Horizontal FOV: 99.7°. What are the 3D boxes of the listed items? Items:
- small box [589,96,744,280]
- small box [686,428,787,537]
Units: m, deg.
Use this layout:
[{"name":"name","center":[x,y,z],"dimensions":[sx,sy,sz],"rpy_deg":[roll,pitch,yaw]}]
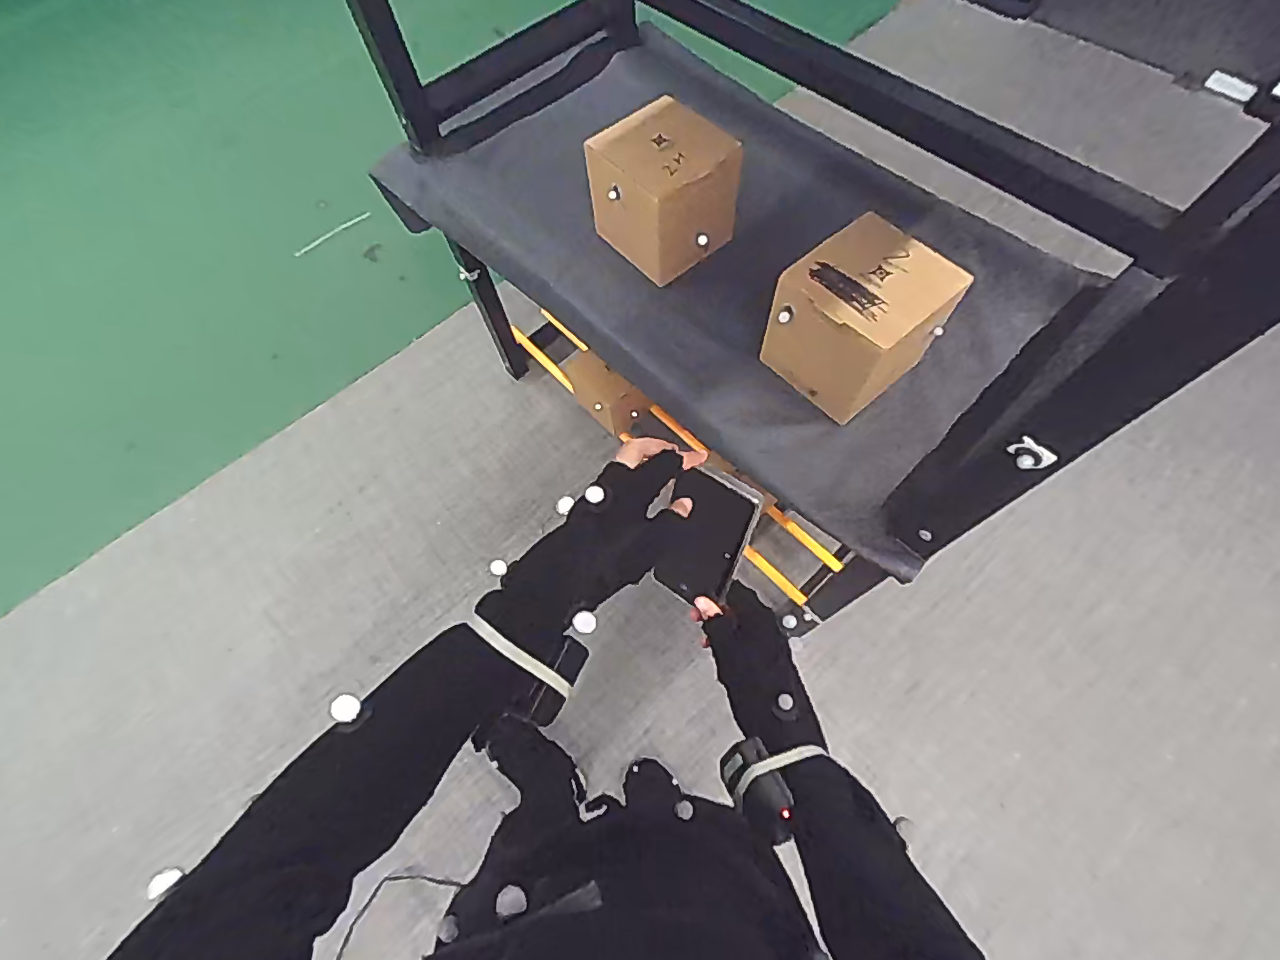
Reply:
[{"name":"small box","center":[0.040,-0.462,0.871],"dimensions":[0.168,0.176,0.179],"rpy_deg":[-38,69,-13]},{"name":"small box","center":[0.231,0.013,1.329],"dimensions":[0.179,0.176,0.168],"rpy_deg":[-38,69,-13]}]
